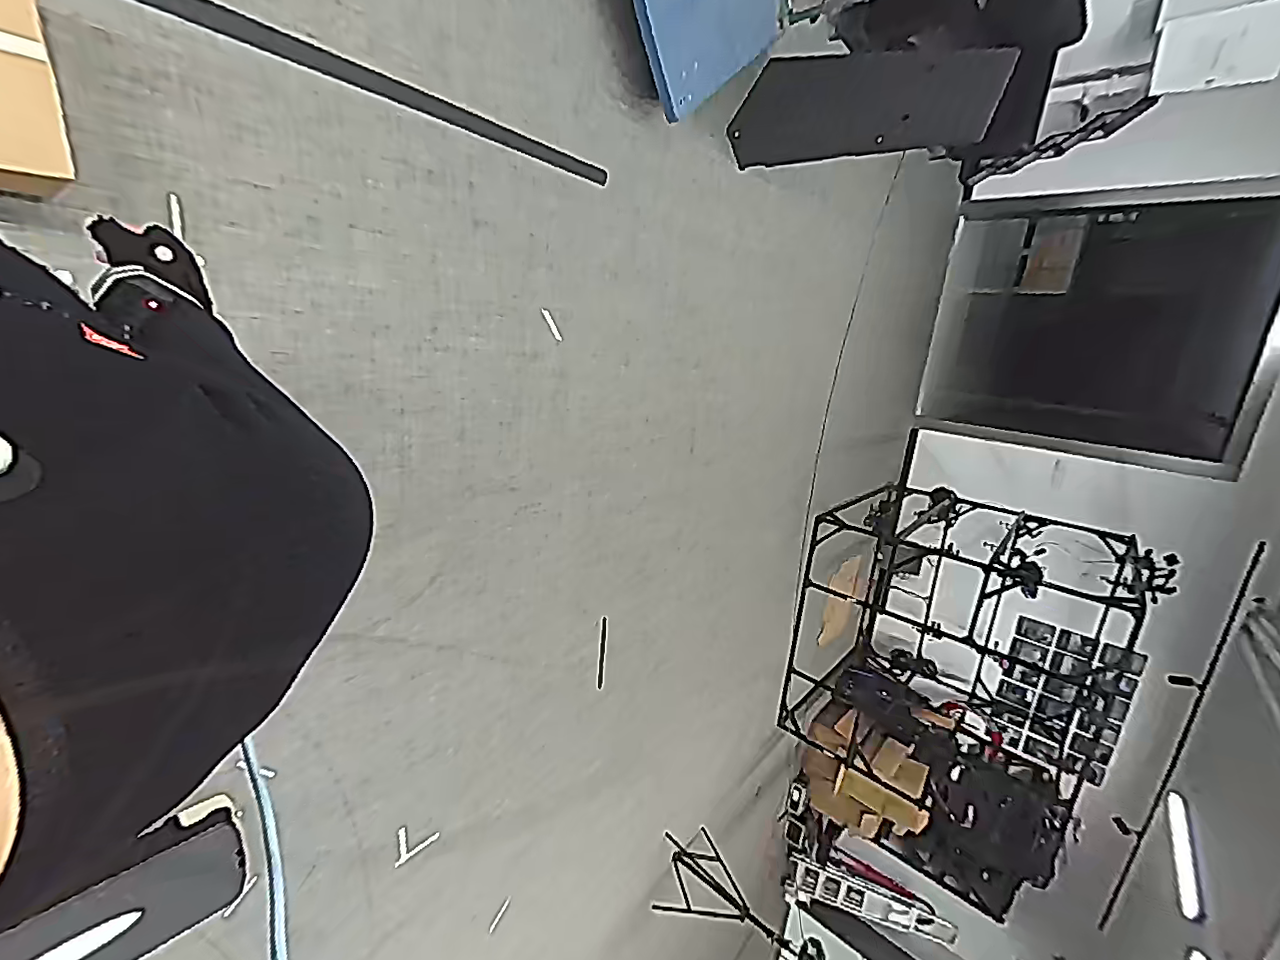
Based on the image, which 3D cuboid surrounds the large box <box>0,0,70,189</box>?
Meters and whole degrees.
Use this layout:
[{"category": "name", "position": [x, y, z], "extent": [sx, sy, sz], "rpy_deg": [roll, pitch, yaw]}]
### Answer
[{"category": "large box", "position": [-1.068, -0.588, 0.686], "extent": [0.408, 0.320, 0.320], "rpy_deg": [-18, 118, -49]}]
